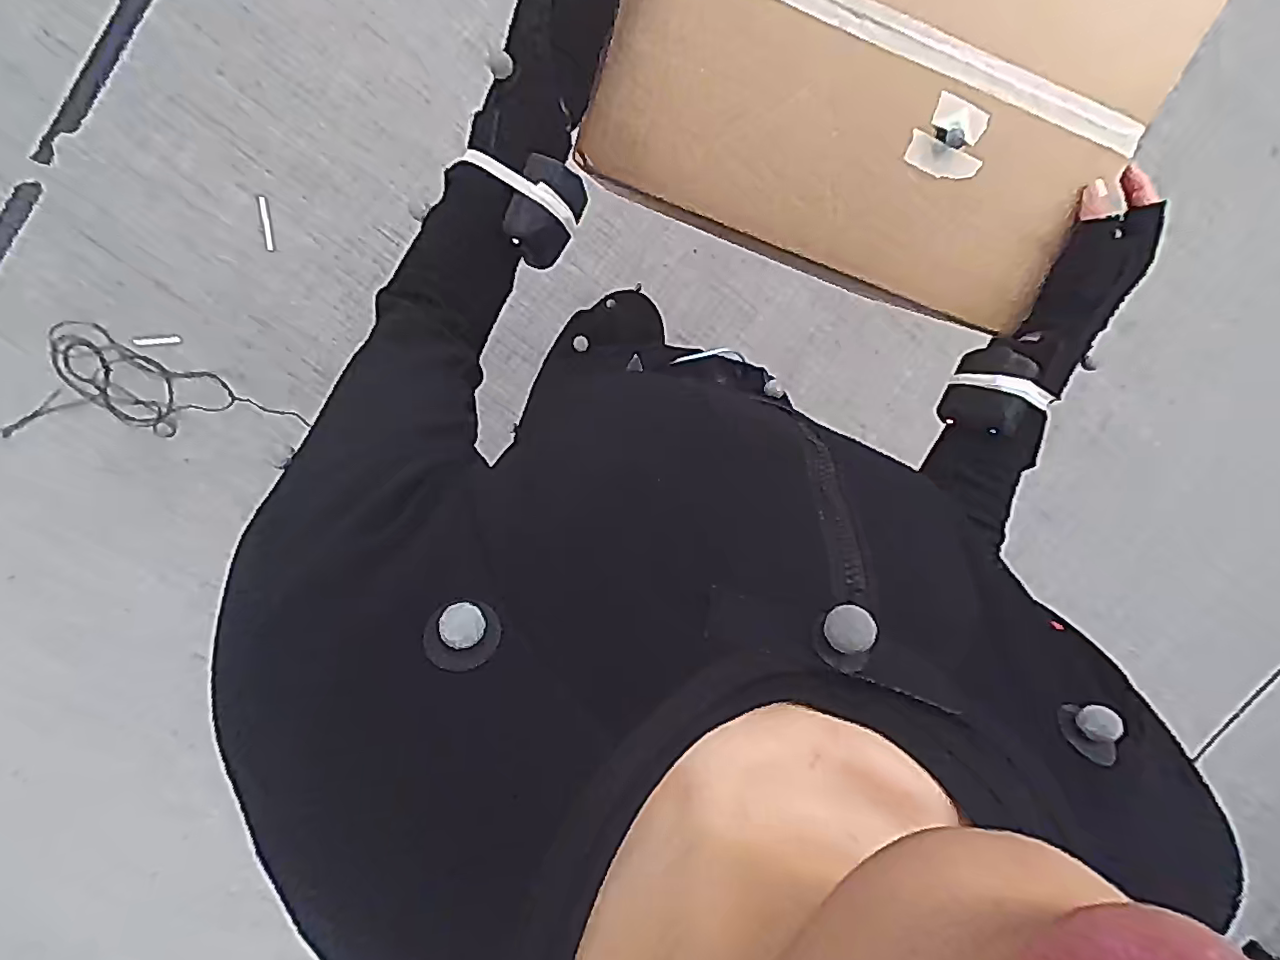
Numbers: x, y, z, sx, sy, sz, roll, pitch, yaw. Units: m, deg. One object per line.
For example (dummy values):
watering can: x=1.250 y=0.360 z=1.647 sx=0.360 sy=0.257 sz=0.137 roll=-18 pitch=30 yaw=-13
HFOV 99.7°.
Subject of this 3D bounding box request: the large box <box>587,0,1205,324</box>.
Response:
large box: x=0.190 y=-0.390 z=0.538 sx=0.408 sy=0.320 sz=0.320 roll=19 pitch=115 yaw=-8
